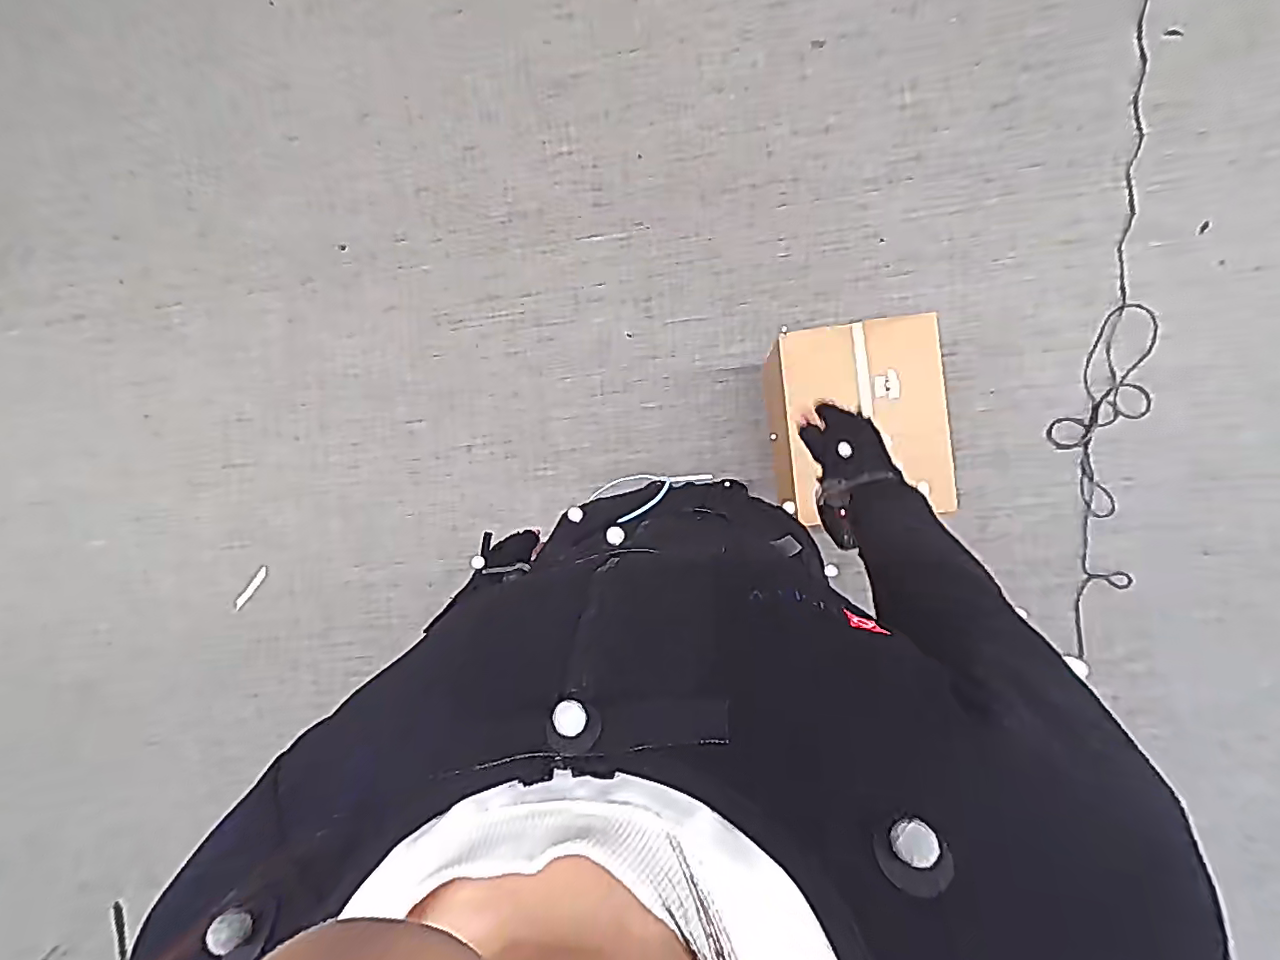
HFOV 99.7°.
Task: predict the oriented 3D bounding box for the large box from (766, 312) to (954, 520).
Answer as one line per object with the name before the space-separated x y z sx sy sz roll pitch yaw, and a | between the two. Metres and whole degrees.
large box | 0.484 -0.128 1.266 0.320 0.320 0.408 -6 88 6
